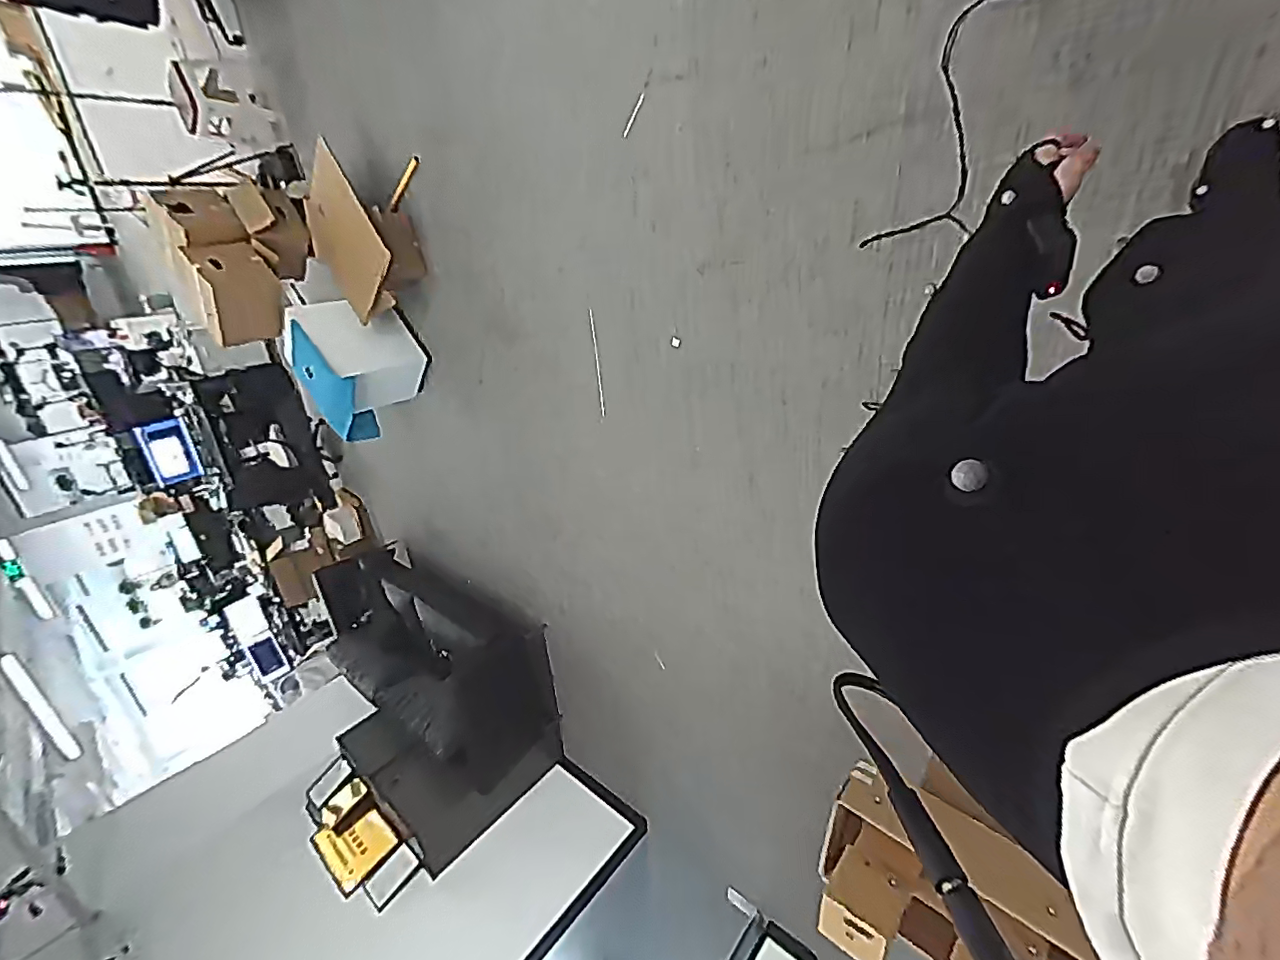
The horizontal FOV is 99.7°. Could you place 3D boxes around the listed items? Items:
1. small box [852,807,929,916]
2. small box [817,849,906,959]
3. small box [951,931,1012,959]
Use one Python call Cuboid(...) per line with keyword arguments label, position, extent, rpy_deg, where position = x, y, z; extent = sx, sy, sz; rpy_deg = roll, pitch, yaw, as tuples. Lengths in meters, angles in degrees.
Cuboid(label="small box", position=(0.708, 1.099, 1.556), extent=(0.168, 0.176, 0.179), rpy_deg=(22, 124, 36))
Cuboid(label="small box", position=(0.594, 1.147, 1.448), extent=(0.168, 0.176, 0.179), rpy_deg=(18, 122, 38))
Cuboid(label="small box", position=(0.817, 1.234, 1.272), extent=(0.168, 0.176, 0.179), rpy_deg=(18, 122, 37))
